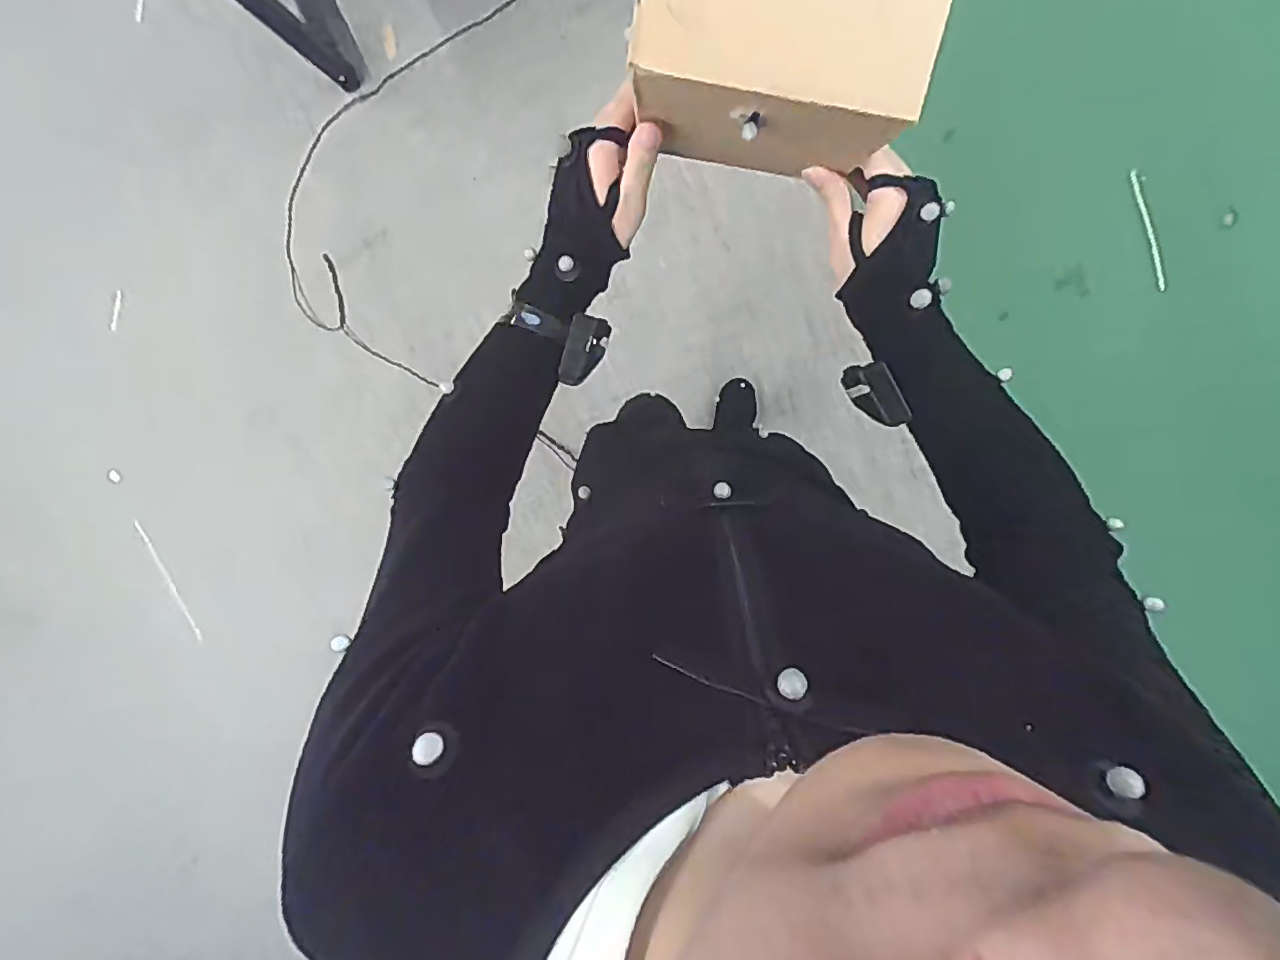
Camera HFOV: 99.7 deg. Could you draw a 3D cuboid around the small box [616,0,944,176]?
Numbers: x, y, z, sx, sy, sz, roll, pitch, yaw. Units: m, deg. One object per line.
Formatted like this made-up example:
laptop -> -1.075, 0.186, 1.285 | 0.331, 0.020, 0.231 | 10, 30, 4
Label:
small box -> 0.090, -0.324, 0.362 | 0.179, 0.176, 0.168 | 11, 107, 0
